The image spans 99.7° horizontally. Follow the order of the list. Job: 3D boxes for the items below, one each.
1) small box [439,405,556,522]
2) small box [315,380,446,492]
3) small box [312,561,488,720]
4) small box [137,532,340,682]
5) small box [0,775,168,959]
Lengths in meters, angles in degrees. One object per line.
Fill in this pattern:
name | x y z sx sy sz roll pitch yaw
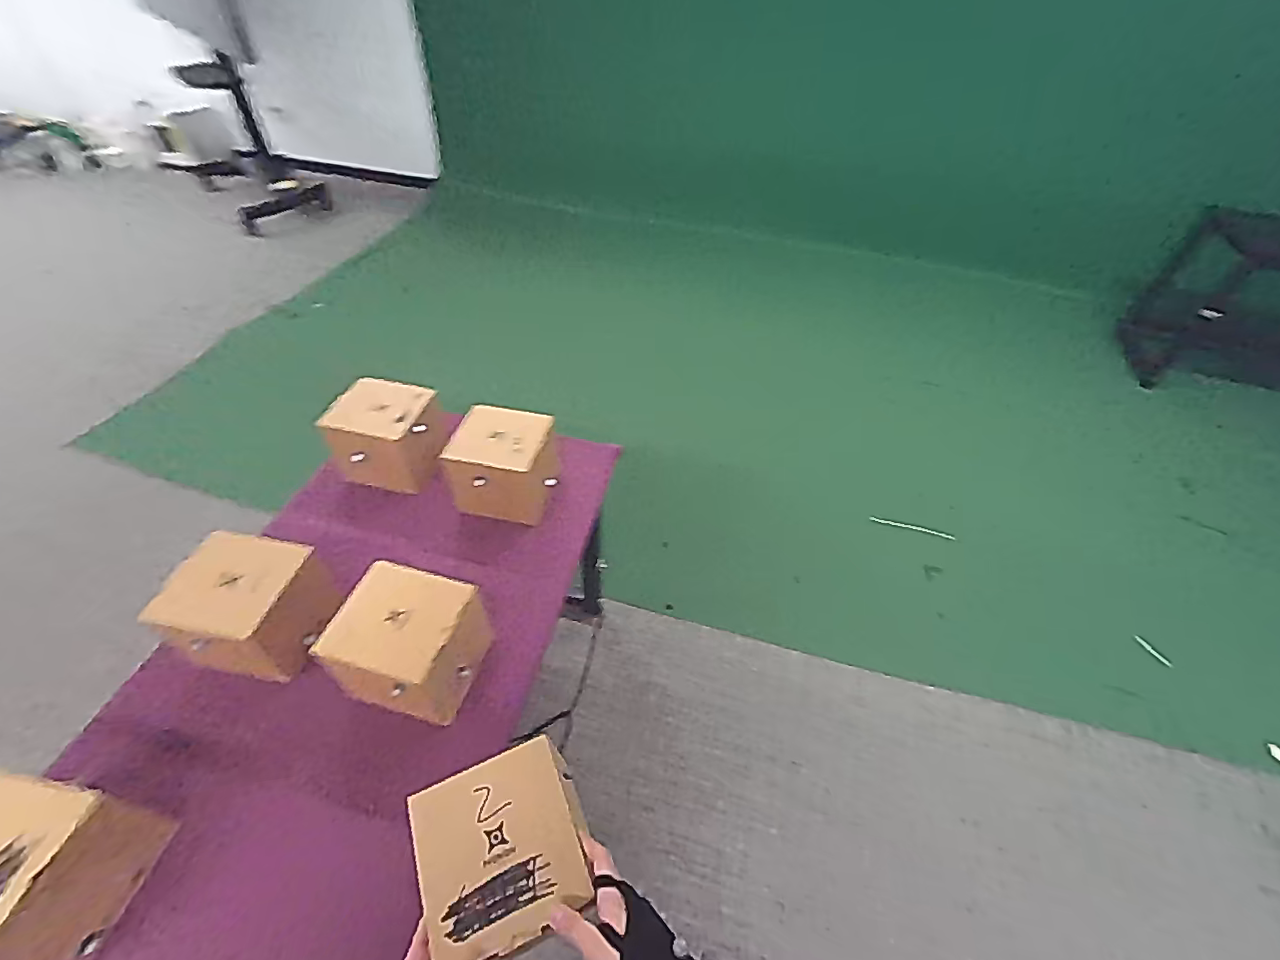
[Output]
small box | -0.289 -0.031 1.136 0.179 0.176 0.168 10 48 7
small box | -0.552 -0.093 1.179 0.179 0.176 0.168 10 48 6
small box | -0.366 0.259 0.863 0.179 0.176 0.168 12 47 9
small box | -0.640 0.211 0.890 0.179 0.176 0.168 10 48 4
small box | -0.732 0.468 0.639 0.179 0.176 0.168 9 46 5
